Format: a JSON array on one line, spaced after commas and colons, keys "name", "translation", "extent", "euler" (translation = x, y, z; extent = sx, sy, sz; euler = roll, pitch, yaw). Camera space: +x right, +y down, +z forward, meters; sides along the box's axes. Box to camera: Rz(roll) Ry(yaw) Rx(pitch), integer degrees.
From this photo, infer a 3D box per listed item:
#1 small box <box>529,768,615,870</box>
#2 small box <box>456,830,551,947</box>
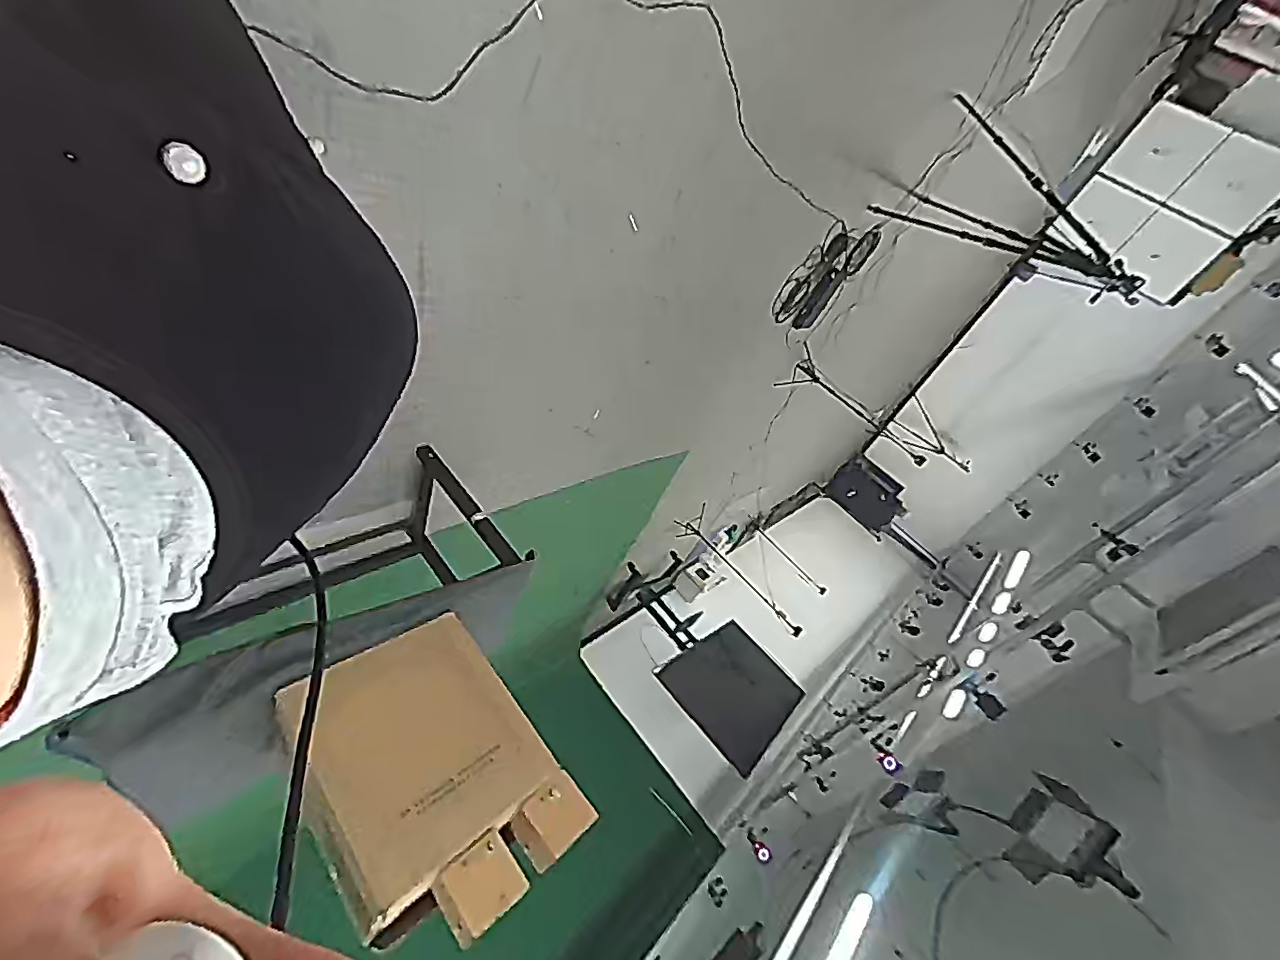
[{"name": "small box", "translation": [-0.207, 0.997, 1.600], "extent": [0.168, 0.176, 0.179], "euler": [-27, 150, -44]}, {"name": "small box", "translation": [-0.363, 1.065, 1.420], "extent": [0.168, 0.176, 0.179], "euler": [-24, 150, -43]}]
